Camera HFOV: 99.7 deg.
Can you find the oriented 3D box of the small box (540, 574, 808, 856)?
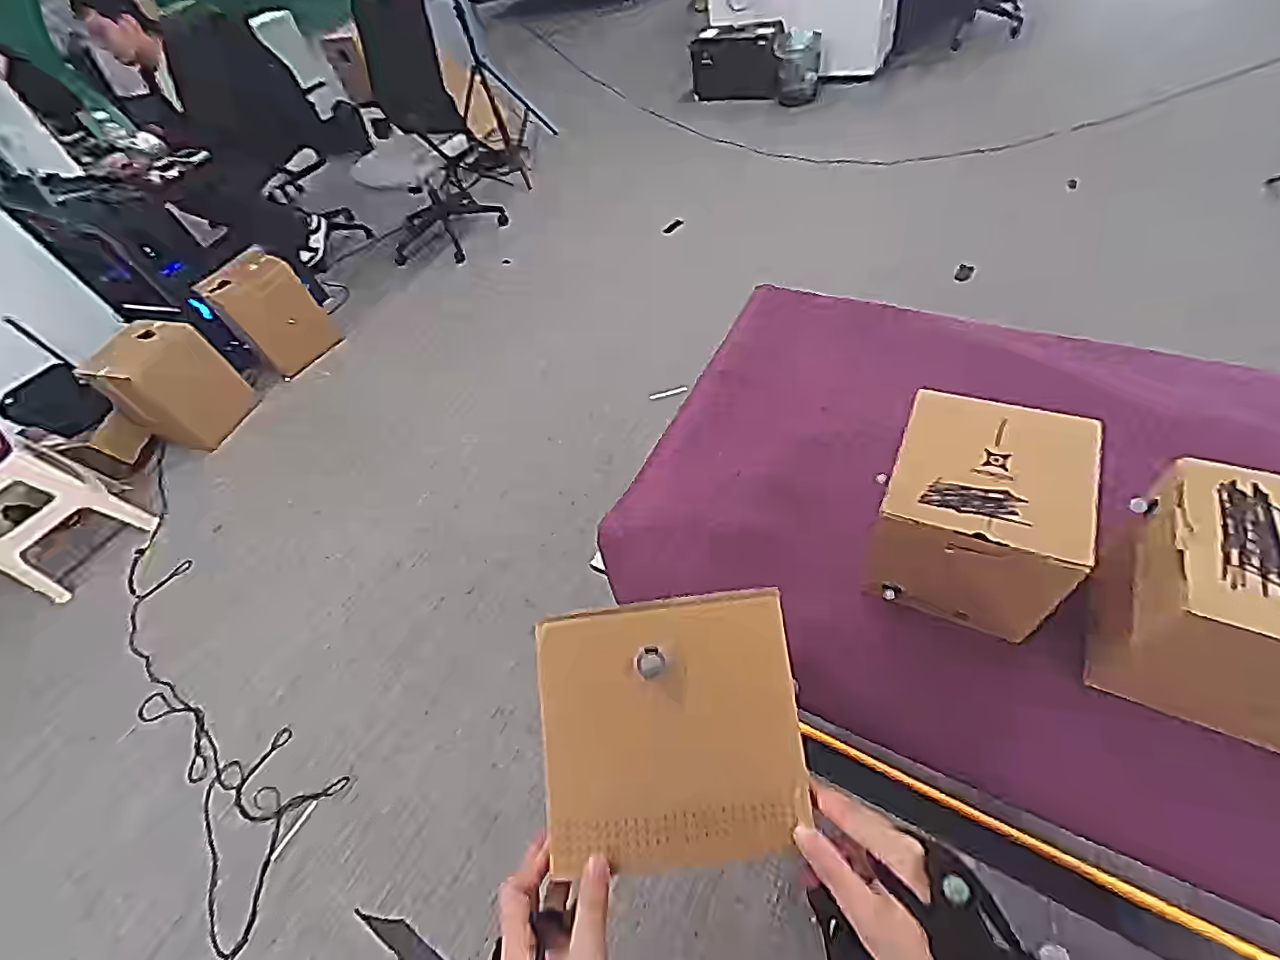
[{"bbox_3d":[0.026,0.172,0.439,0.179,0.168,0.176,-7,77,0],"label":"small box"}]

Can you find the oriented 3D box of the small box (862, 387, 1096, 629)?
[{"bbox_3d":[0.348,0.032,0.580,0.168,0.176,0.179,17,58,24],"label":"small box"}]
